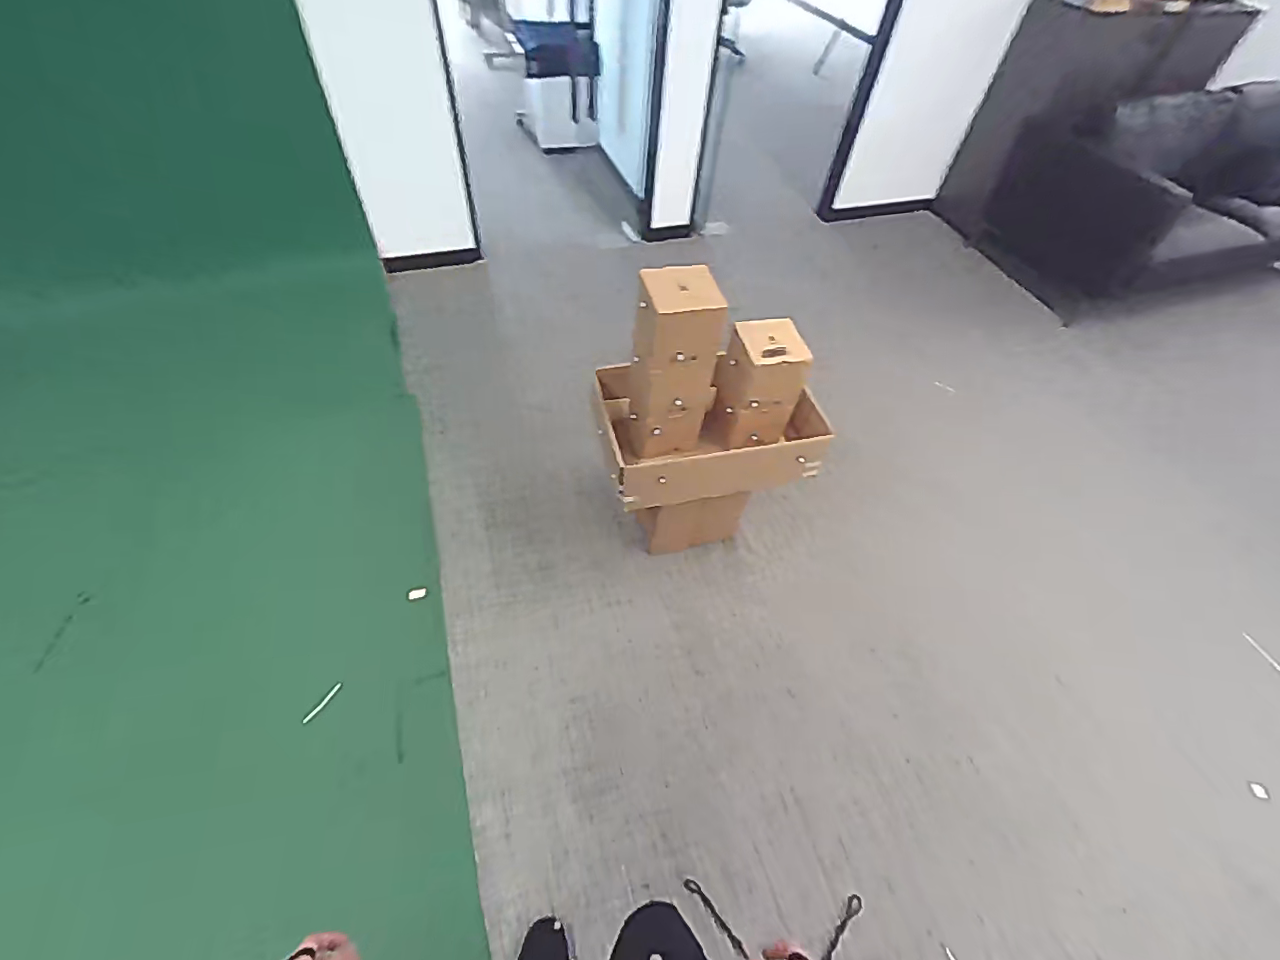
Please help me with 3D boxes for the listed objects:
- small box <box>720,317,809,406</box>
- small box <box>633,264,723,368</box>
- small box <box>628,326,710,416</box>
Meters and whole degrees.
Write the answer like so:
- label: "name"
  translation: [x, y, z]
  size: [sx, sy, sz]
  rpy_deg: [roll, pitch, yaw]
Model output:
- label: "small box"
  translation: [0.329, -0.316, 1.470]
  size: [0.168, 0.176, 0.179]
  rpy_deg: [-7, 53, -11]
- label: "small box"
  translation: [0.082, -0.392, 1.298]
  size: [0.168, 0.176, 0.179]
  rpy_deg: [-9, 54, -11]
- label: "small box"
  translation: [0.069, -0.292, 1.425]
  size: [0.168, 0.176, 0.179]
  rpy_deg: [-9, 53, -12]
